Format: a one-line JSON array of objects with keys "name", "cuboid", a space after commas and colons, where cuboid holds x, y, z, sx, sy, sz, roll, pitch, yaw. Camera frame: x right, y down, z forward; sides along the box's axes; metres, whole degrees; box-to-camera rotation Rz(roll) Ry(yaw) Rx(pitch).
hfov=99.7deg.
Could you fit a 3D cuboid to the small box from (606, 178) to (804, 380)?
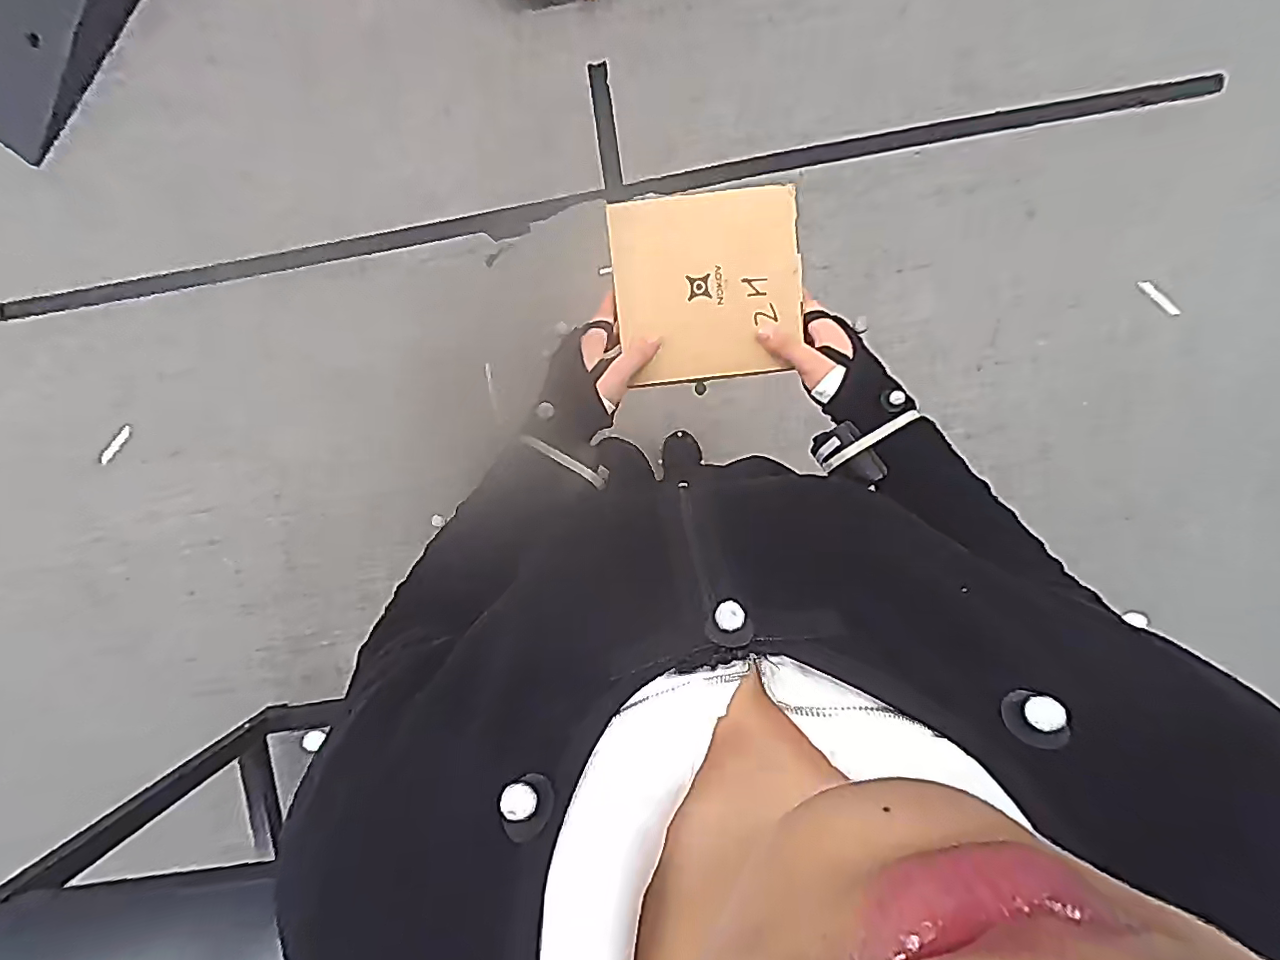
[{"name": "small box", "cuboid": [0.062, -0.199, 0.581, 0.179, 0.176, 0.168, -6, 100, 0]}]
